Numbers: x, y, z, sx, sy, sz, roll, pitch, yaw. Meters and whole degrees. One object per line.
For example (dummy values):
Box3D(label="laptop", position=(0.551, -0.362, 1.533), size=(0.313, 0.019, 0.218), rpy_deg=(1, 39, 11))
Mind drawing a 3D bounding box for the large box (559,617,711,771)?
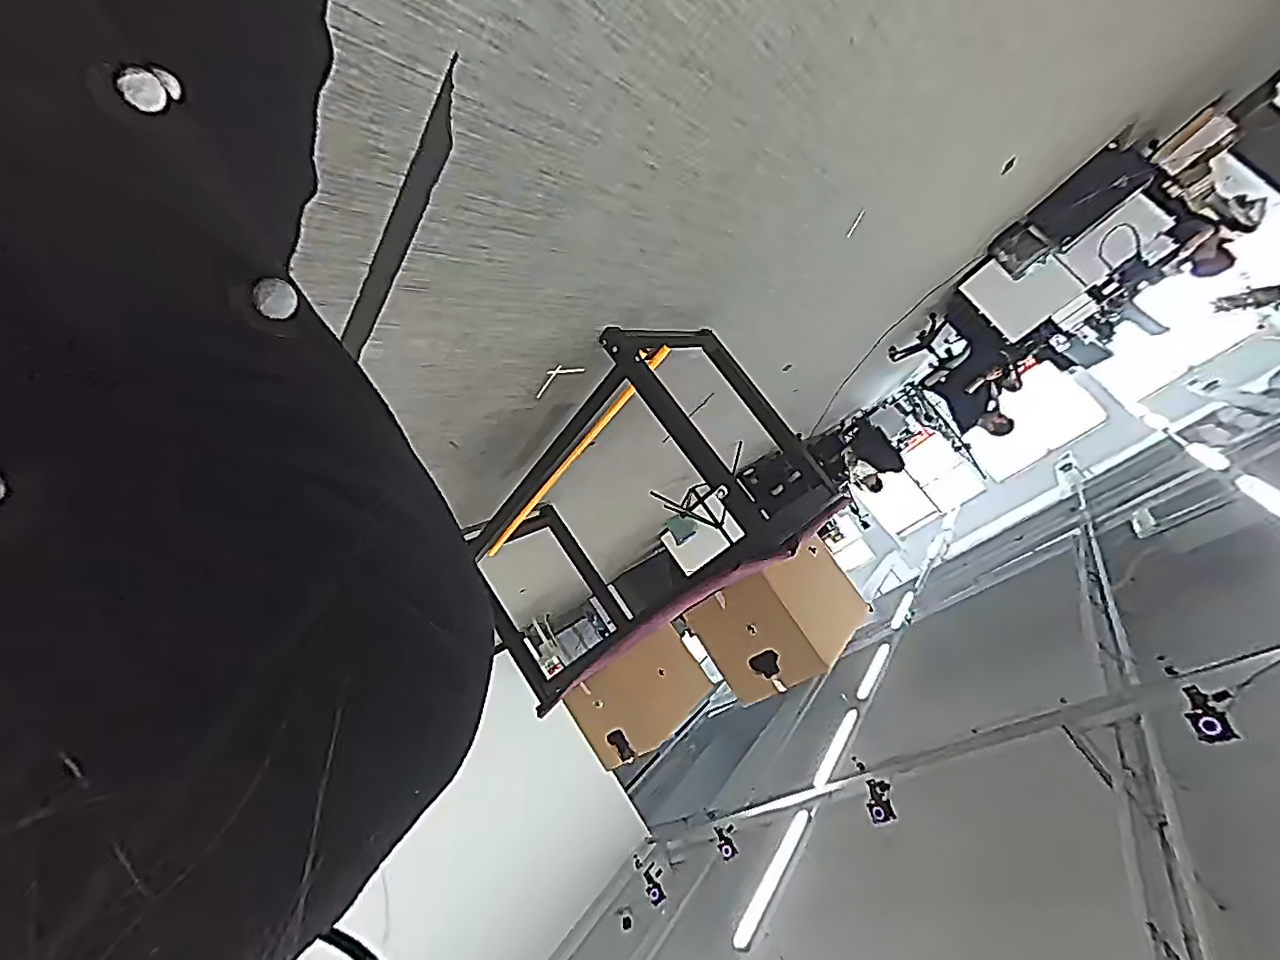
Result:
Box3D(label="large box", position=(-0.016, 0.778, 2.000), size=(0.320, 0.320, 0.408), rpy_deg=(-44, 167, 35))
